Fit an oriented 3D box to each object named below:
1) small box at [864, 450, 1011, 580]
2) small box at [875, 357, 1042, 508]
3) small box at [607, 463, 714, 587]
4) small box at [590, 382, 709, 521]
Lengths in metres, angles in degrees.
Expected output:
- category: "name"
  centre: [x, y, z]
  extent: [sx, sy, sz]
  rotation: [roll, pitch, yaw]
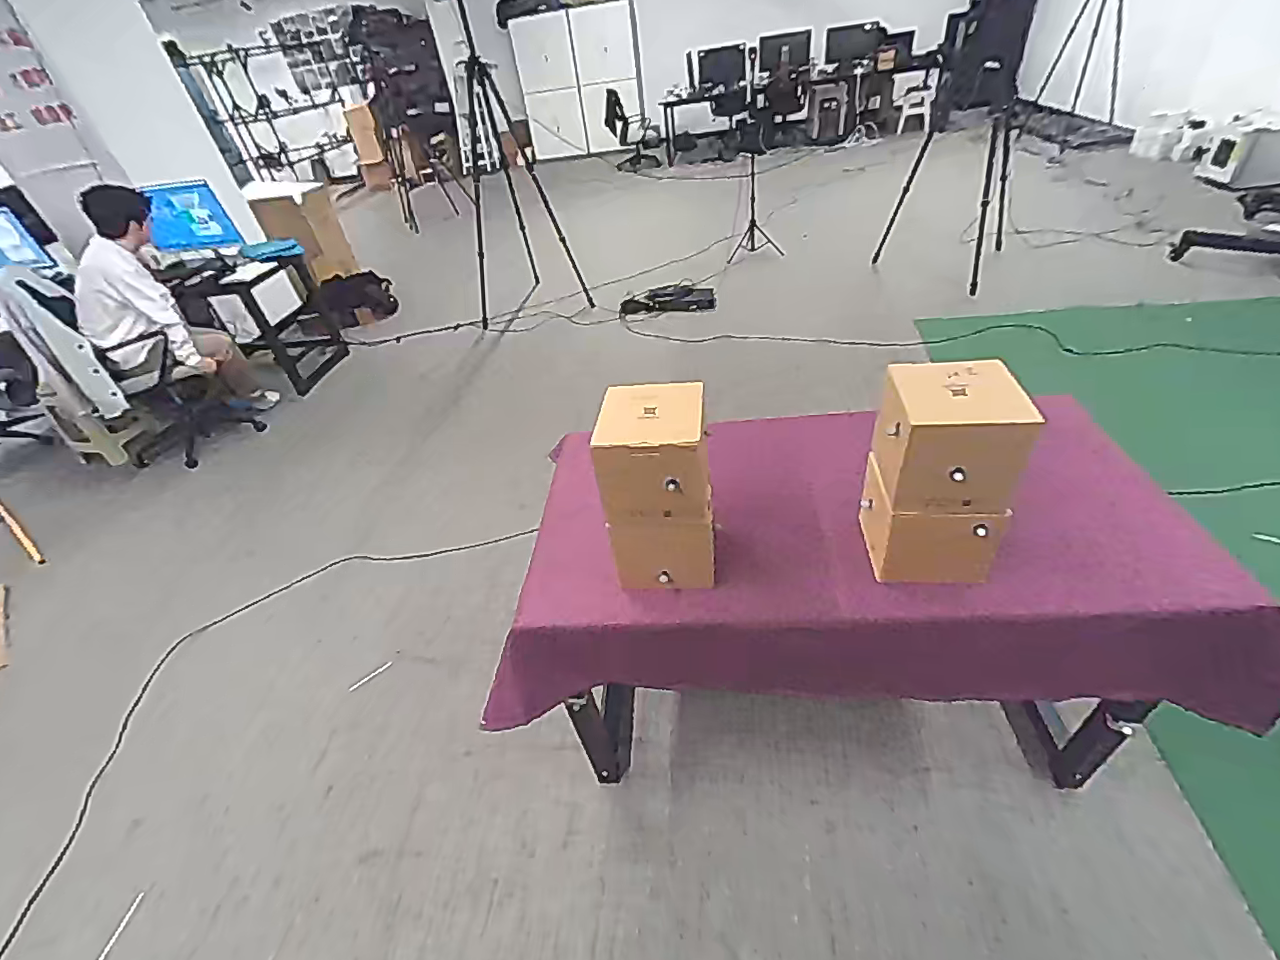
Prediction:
- category: "small box"
  centre: [0.495, 0.058, 0.935]
  extent: [0.179, 0.176, 0.168]
  rotation: [-2, 40, 10]
- category: "small box"
  centre: [0.473, -0.071, 0.835]
  extent: [0.168, 0.176, 0.179]
  rotation: [0, 40, 12]
- category: "small box"
  centre: [0.048, 0.084, 1.002]
  extent: [0.179, 0.176, 0.168]
  rotation: [-2, 40, 9]
- category: "small box"
  centre: [0.027, -0.044, 0.902]
  extent: [0.168, 0.176, 0.179]
  rotation: [-1, 40, 11]
